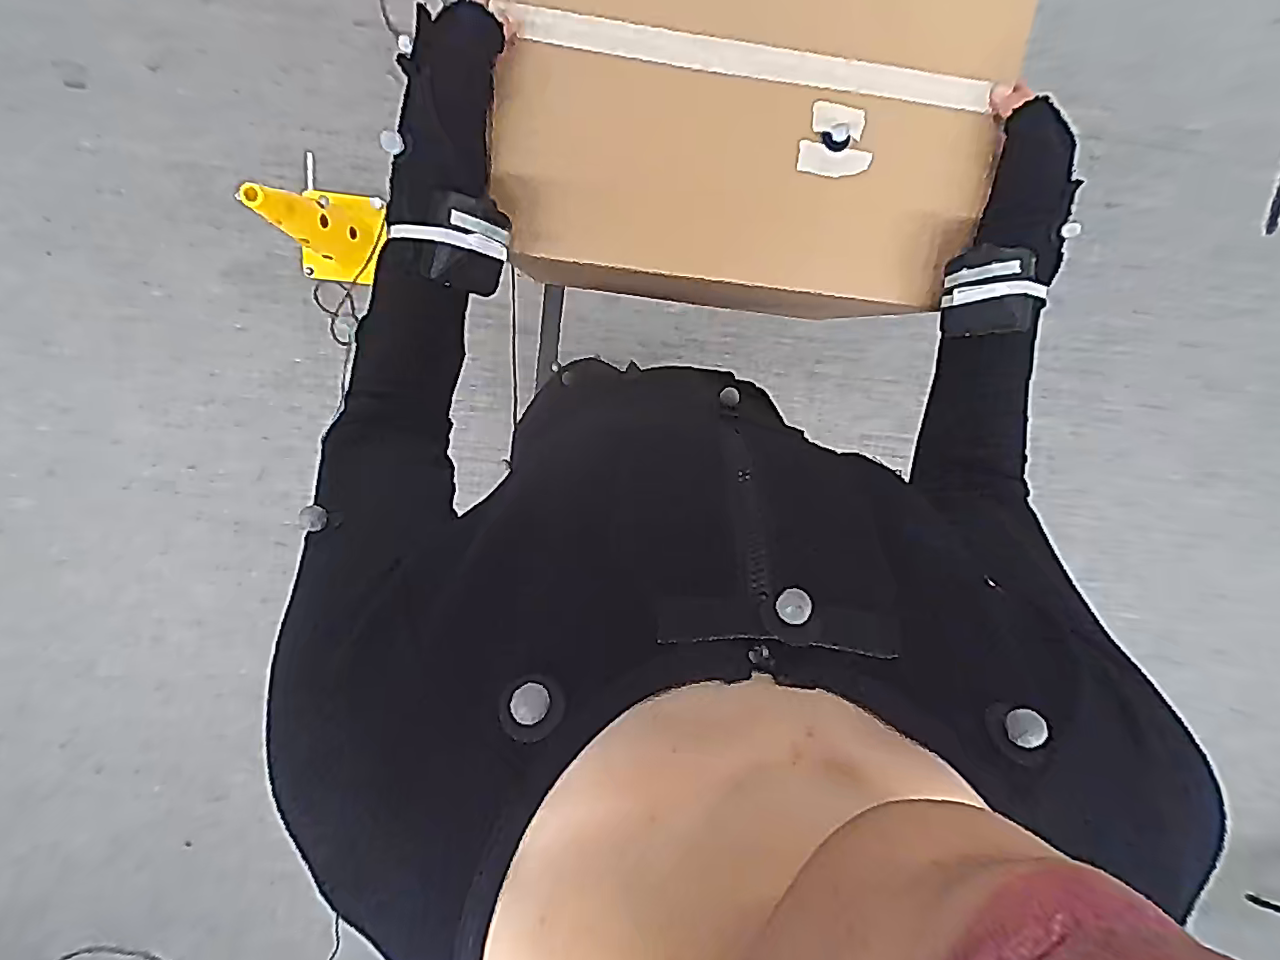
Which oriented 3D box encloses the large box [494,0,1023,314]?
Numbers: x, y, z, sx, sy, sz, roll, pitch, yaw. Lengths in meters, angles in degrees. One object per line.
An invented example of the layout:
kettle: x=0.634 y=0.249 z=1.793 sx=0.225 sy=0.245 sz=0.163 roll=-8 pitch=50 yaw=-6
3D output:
large box: x=0.080 y=-0.357 z=0.561 sx=0.408 sy=0.320 sz=0.320 roll=5 pitch=105 yaw=-6
